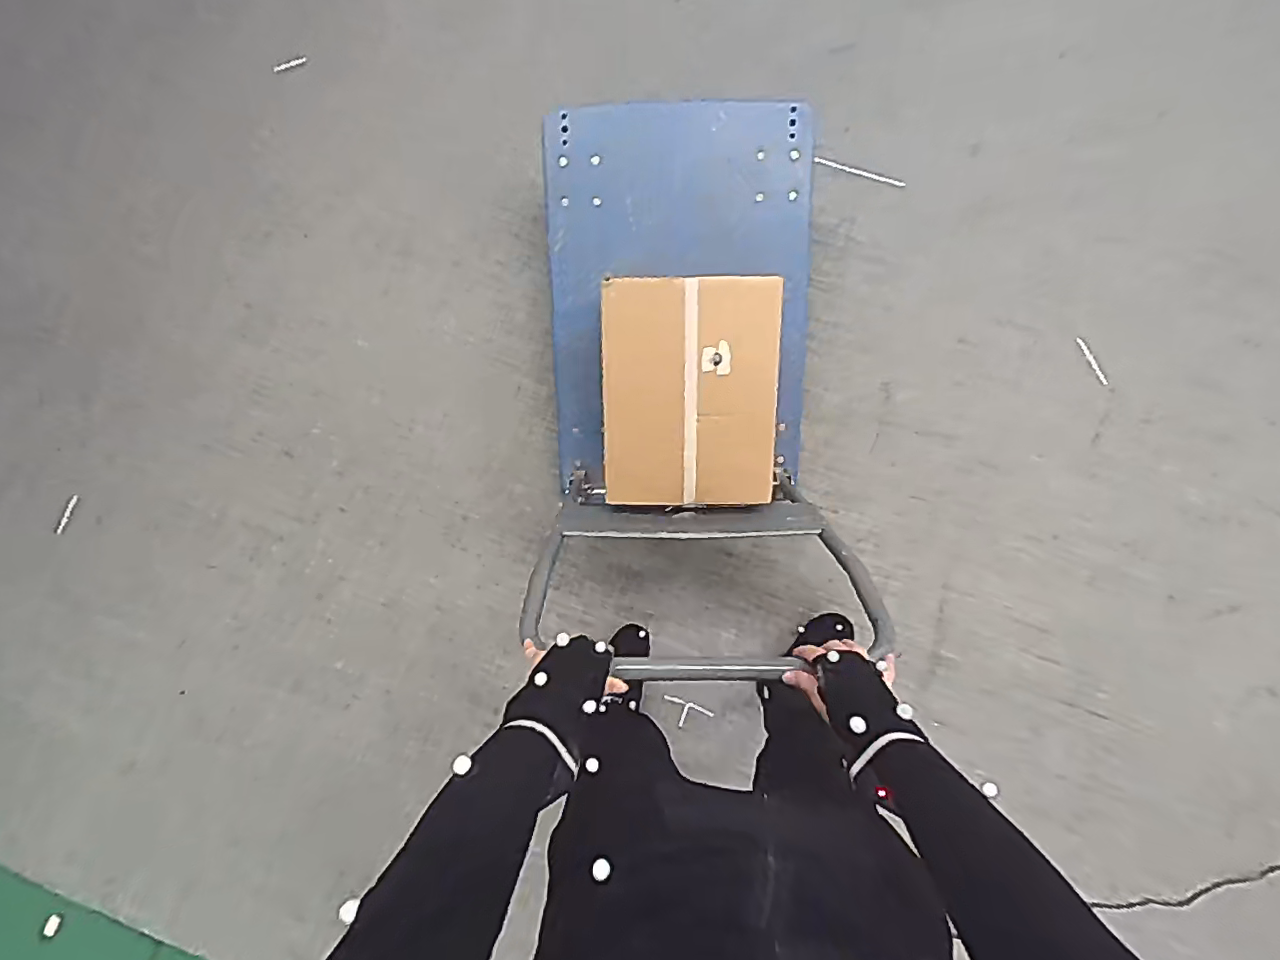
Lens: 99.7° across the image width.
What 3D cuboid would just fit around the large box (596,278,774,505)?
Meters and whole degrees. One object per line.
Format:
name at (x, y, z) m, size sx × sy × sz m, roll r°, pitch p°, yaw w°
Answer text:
large box at (0.089, -0.179, 1.118) m, size 0.320 × 0.320 × 0.408 m, roll -1°, pitch 102°, yaw 1°
